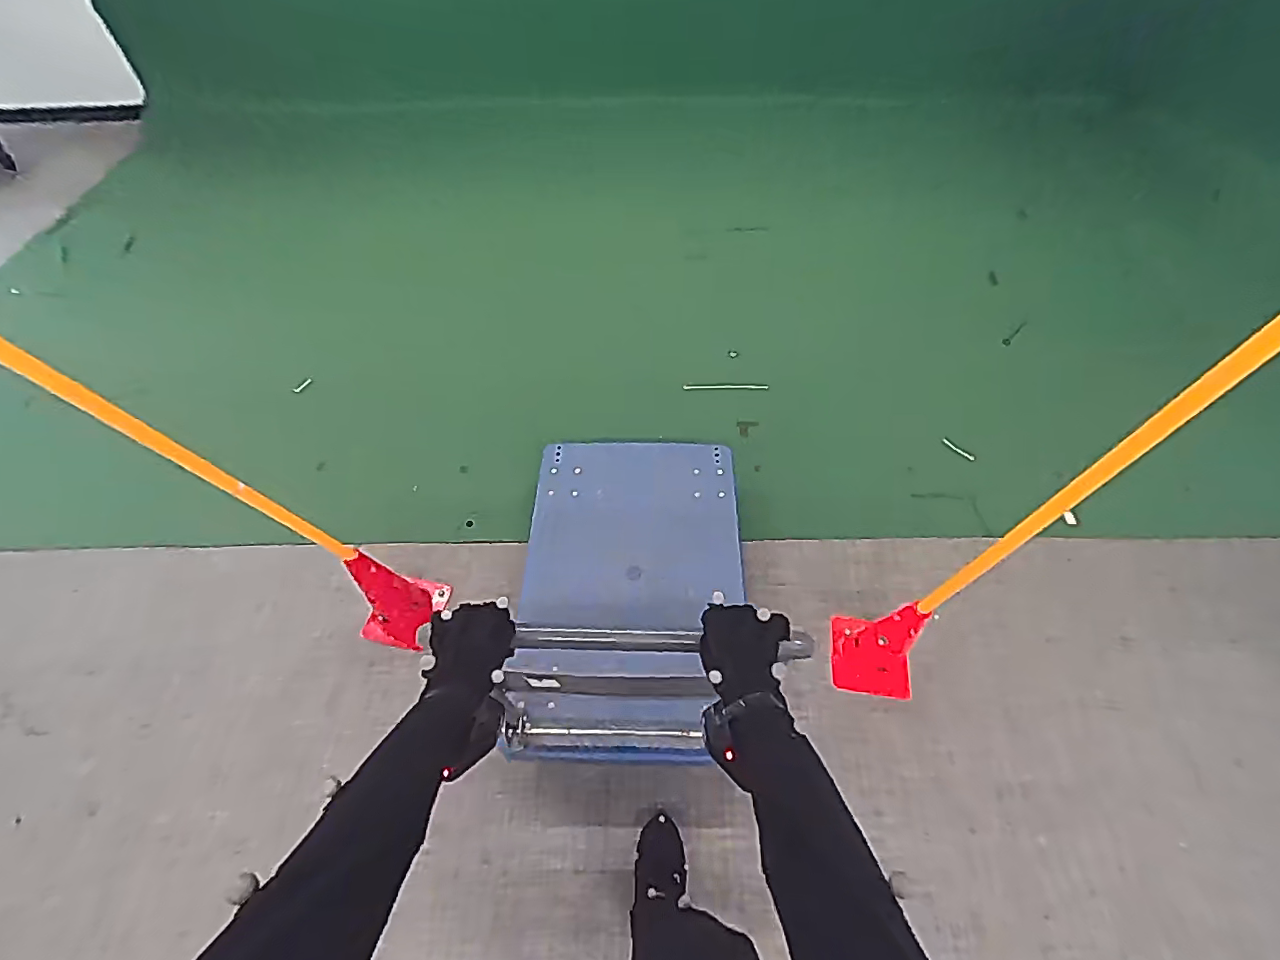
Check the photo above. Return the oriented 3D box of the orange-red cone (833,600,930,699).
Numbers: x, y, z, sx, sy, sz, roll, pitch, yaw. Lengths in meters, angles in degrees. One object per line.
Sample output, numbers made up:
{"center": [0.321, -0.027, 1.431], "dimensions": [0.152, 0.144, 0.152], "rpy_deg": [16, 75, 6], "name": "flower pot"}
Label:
{"center": [0.611, 0.374, 1.302], "dimensions": [0.198, 0.360, 0.199], "rpy_deg": [8, 57, 8], "name": "orange-red cone"}
